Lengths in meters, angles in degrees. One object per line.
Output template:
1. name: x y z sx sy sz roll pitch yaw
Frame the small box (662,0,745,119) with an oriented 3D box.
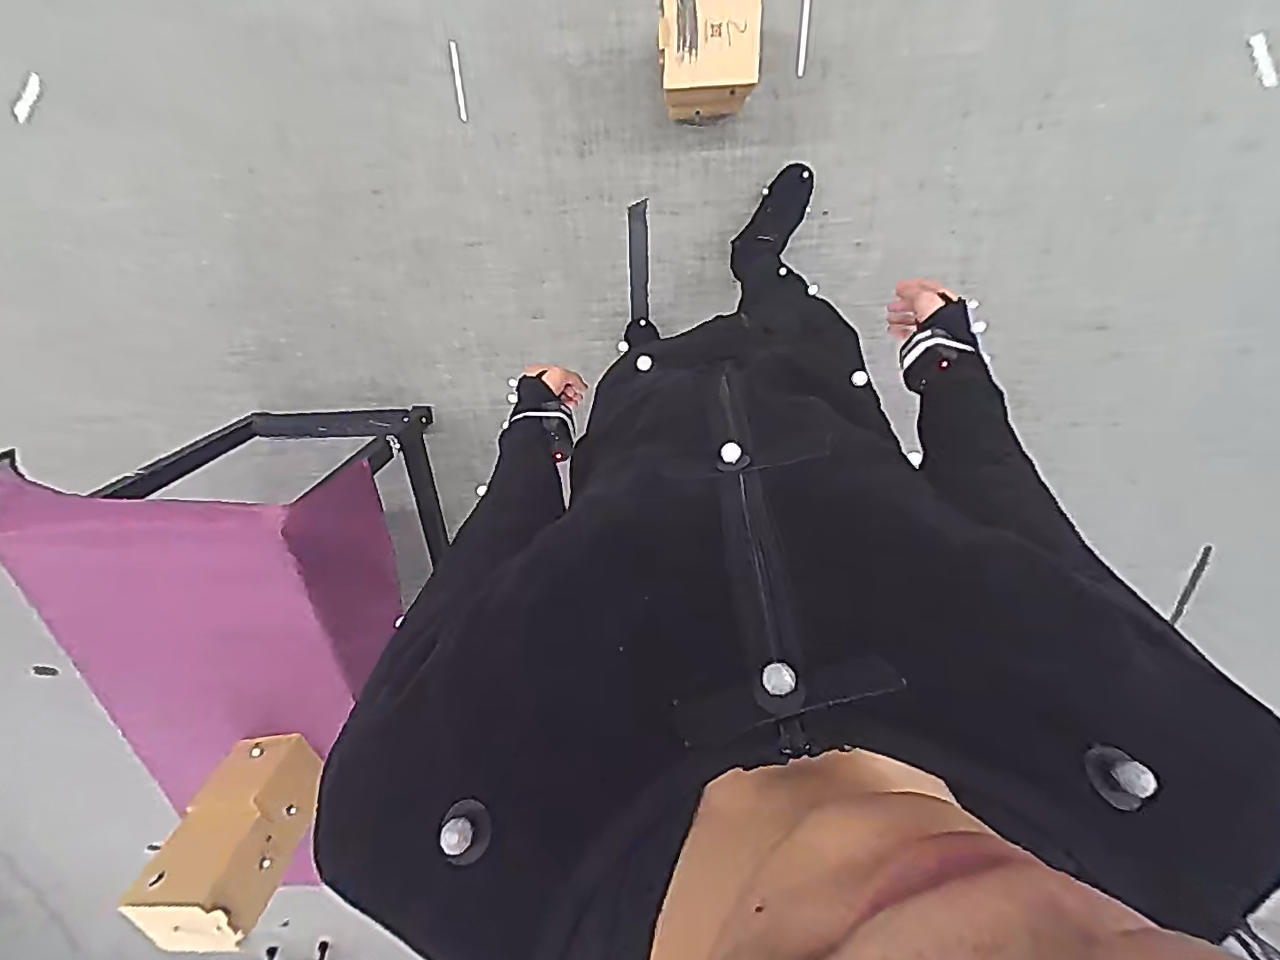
1. small box: 0.137 -0.900 1.175 0.168 0.176 0.179 -4 116 5

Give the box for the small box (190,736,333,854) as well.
1. small box: -0.841 0.715 1.225 0.168 0.176 0.179 -11 115 8

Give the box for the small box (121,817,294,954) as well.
1. small box: -0.854 0.809 1.088 0.179 0.176 0.168 -6 117 6
